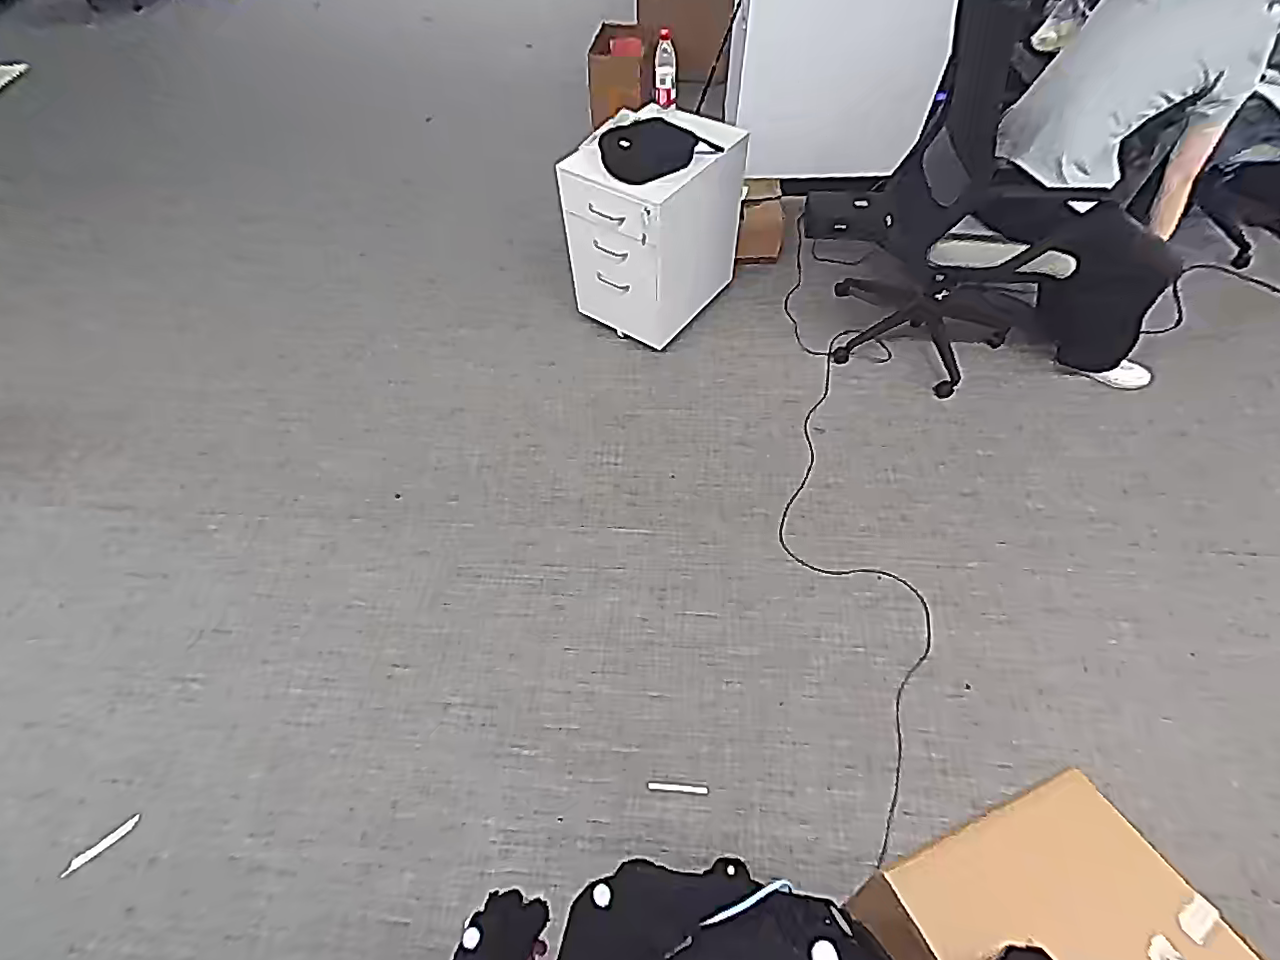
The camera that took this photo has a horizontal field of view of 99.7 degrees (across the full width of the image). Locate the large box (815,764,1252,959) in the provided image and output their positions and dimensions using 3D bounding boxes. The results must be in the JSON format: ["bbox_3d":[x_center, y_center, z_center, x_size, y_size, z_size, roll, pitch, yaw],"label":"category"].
[{"bbox_3d":[0.474,0.644,0.687,0.320,0.408,0.320,-16,43,-15],"label":"large box"}]
